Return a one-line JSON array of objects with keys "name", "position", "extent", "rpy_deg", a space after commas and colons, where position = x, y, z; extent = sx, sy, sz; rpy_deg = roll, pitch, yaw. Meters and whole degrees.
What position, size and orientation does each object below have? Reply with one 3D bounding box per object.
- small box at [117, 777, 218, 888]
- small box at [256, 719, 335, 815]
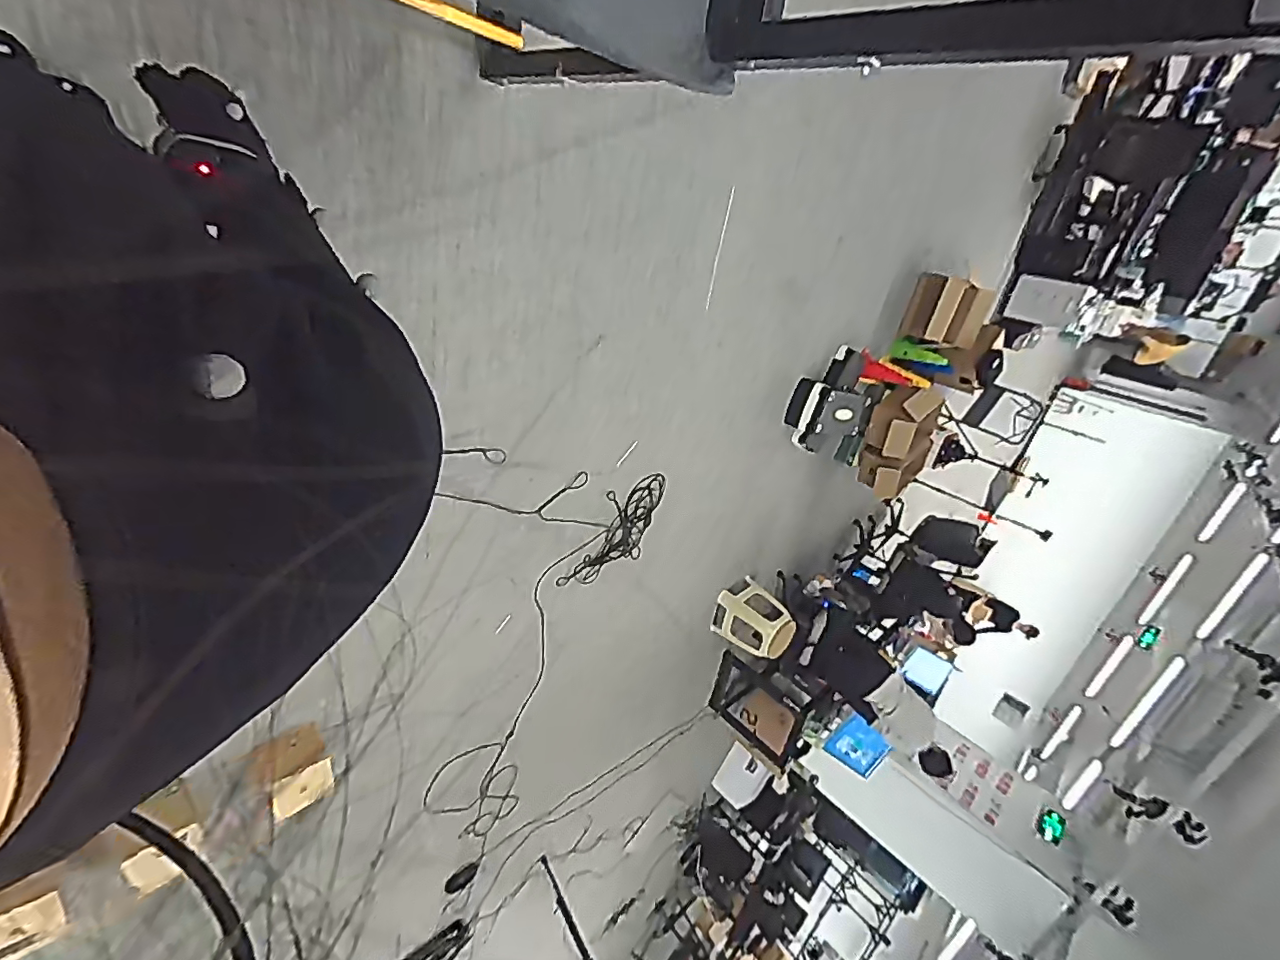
[{"name": "small box", "position": [-1.330, 0.979, 1.521], "extent": [0.168, 0.176, 0.179], "rpy_deg": [-22, 130, -38]}, {"name": "small box", "position": [-1.103, 0.912, 1.733], "extent": [0.168, 0.176, 0.179], "rpy_deg": [-18, 127, -41]}]
